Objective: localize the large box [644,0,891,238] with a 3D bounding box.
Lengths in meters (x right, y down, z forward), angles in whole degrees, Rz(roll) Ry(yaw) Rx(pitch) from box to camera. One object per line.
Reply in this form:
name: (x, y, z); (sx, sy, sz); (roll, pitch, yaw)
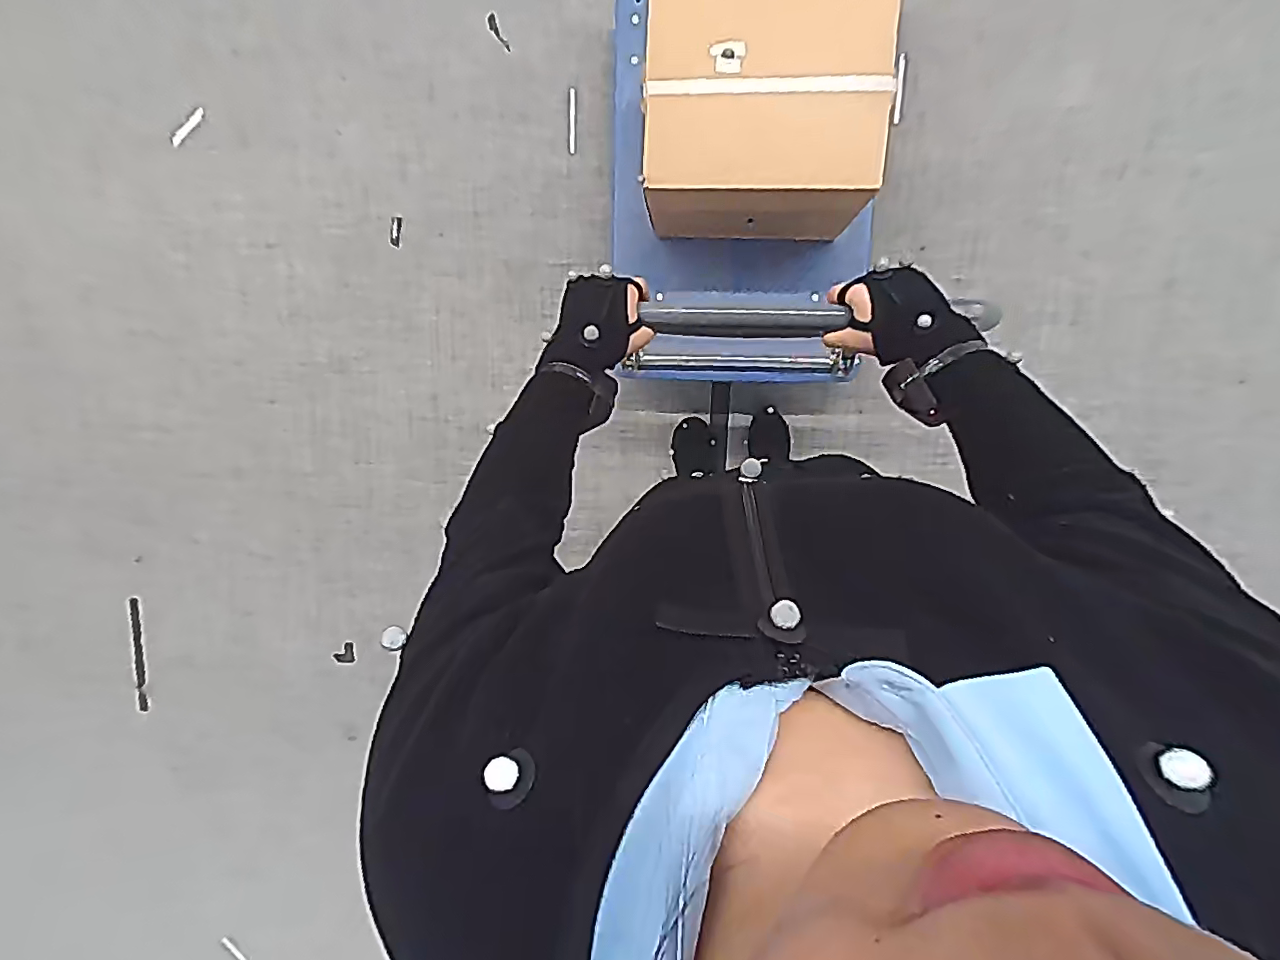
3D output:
large box: (0.227, -0.678, 1.061); (0.408, 0.320, 0.320); (3, 98, 6)
